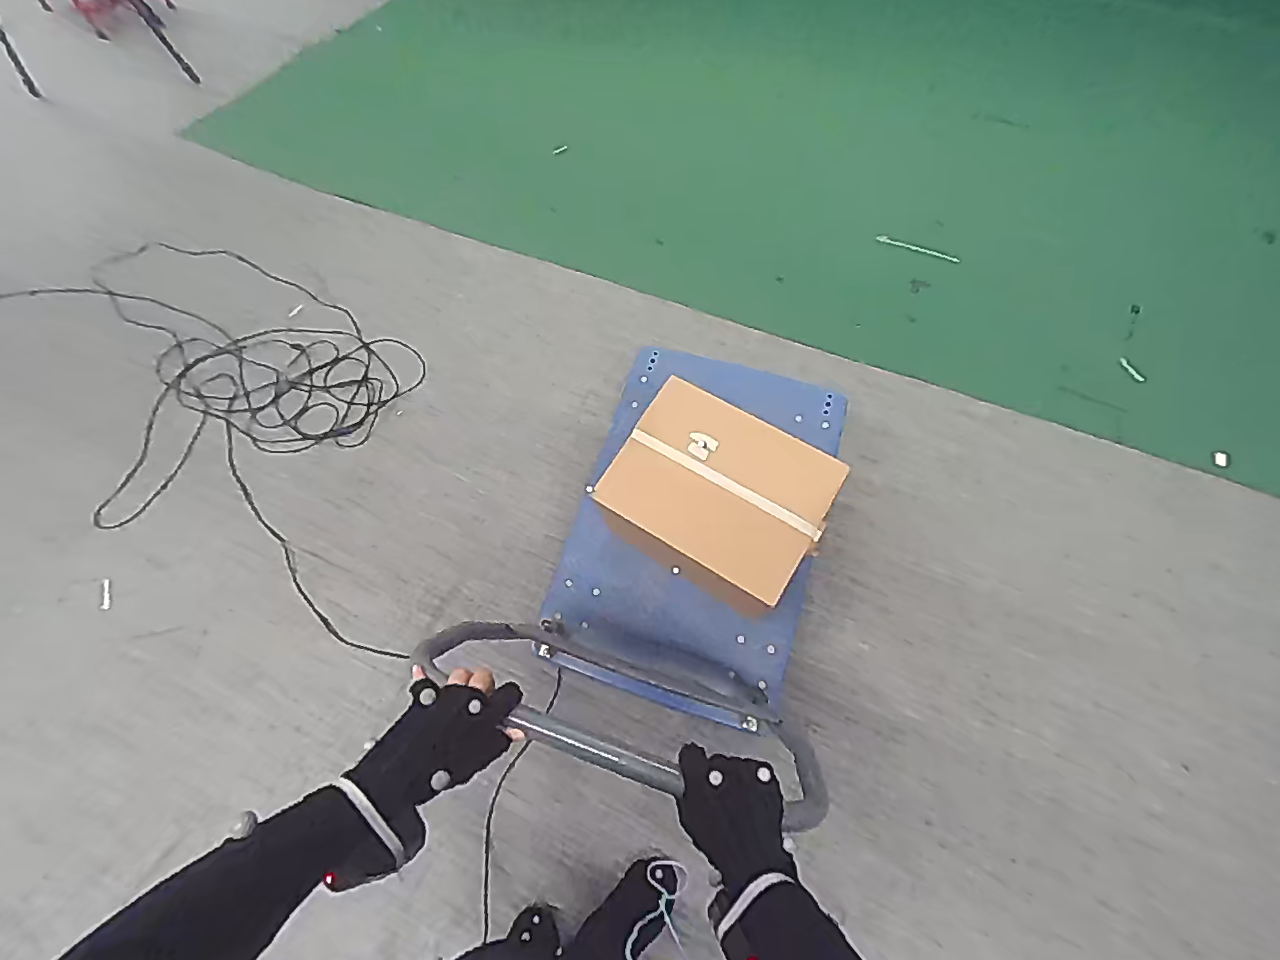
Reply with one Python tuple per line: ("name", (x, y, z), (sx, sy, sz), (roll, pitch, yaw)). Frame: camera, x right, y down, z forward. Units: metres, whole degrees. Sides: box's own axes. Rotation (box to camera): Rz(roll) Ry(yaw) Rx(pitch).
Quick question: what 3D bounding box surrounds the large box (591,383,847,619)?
("large box", (0.165, 0.061, 1.181), (0.408, 0.320, 0.320), (31, 76, 15))
